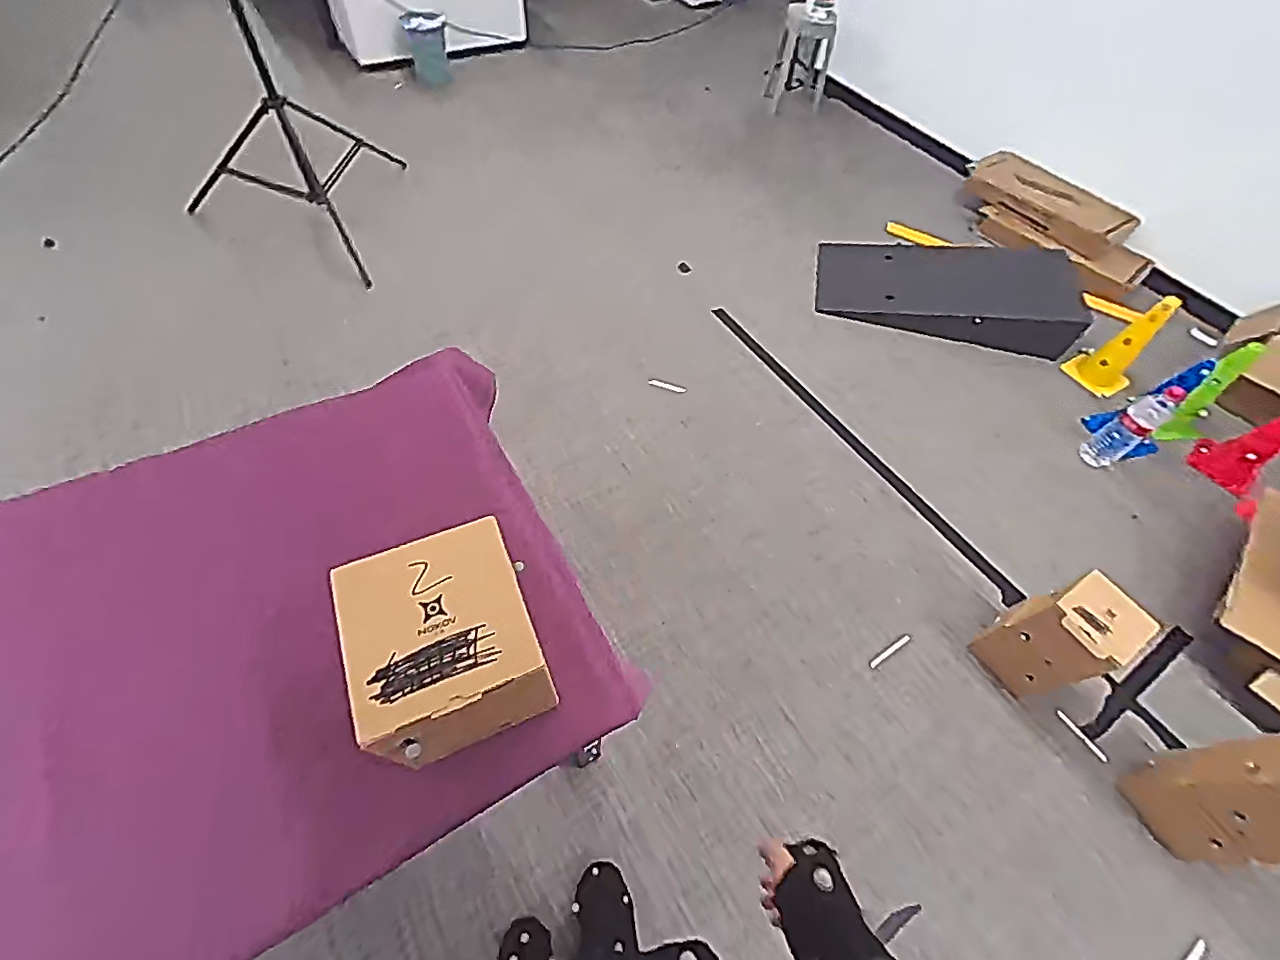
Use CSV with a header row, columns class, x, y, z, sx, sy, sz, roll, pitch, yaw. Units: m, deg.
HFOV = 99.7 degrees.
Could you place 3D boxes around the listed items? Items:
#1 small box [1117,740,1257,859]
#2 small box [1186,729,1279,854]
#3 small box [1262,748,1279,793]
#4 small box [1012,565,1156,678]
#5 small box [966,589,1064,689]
class,x,y,z,sx,sy,sz,roll,pitch,yaw
small box,1.272,0.725,1.238,0.168,0.176,0.179,-23,63,-19
small box,1.297,0.632,1.106,0.179,0.176,0.168,-27,65,-20
small box,1.309,0.557,0.961,0.168,0.176,0.179,-25,65,-19
small box,1.026,0.337,1.270,0.179,0.176,0.168,-26,63,-22
small box,1.009,0.422,1.410,0.168,0.176,0.179,-29,63,-23
